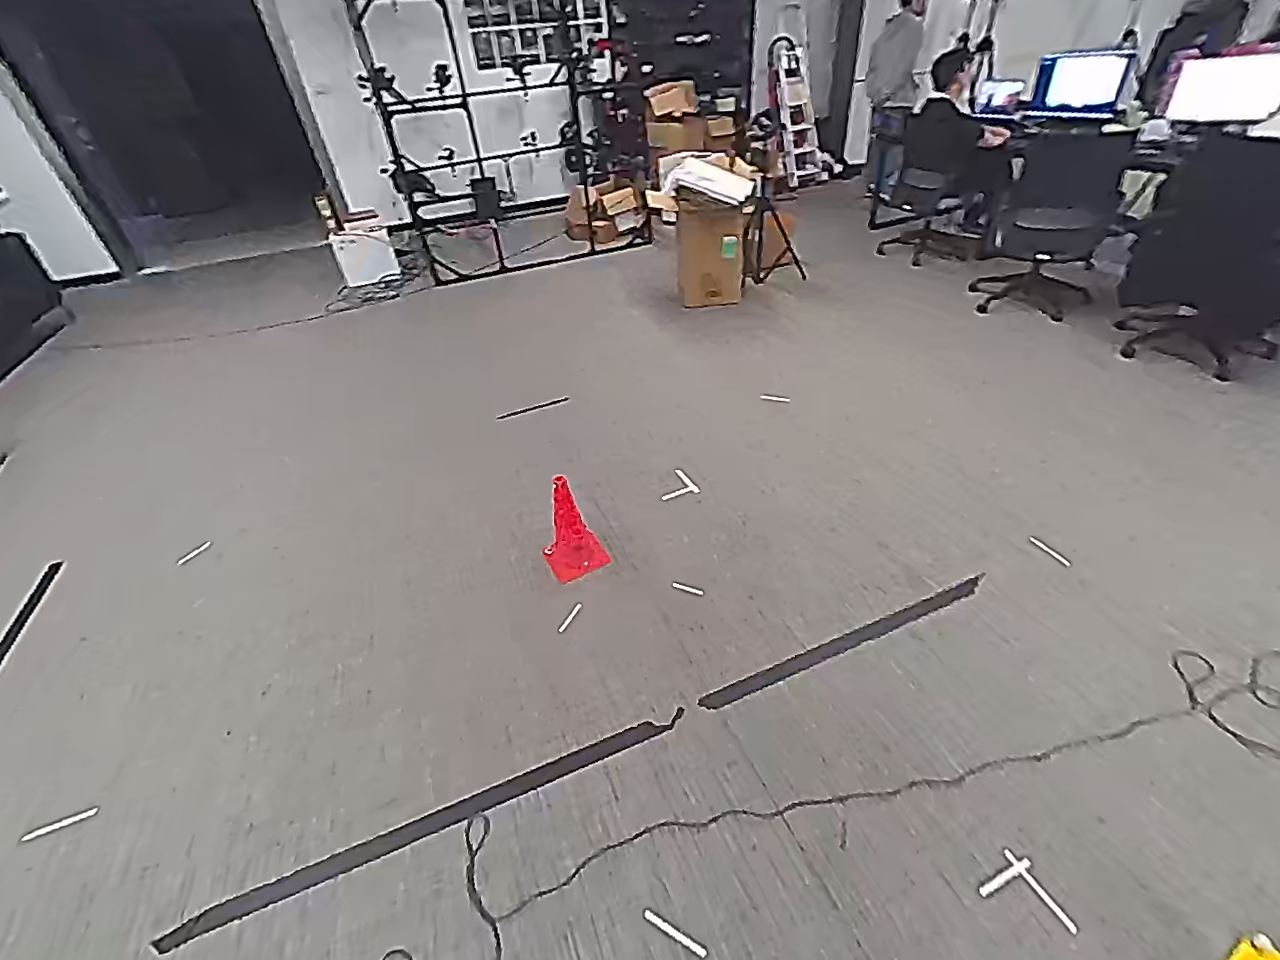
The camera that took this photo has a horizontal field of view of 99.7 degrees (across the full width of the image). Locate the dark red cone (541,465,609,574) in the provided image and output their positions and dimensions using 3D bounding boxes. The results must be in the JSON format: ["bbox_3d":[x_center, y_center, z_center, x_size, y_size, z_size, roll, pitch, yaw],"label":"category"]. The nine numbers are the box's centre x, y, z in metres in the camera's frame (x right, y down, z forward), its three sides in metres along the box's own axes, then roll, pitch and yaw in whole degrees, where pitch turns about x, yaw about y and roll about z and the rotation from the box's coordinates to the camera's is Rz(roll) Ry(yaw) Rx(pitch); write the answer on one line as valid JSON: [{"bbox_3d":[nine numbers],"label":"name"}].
[{"bbox_3d":[-0.247,0.117,1.836,0.202,0.394,0.201,-23,42,-21],"label":"dark red cone"}]
